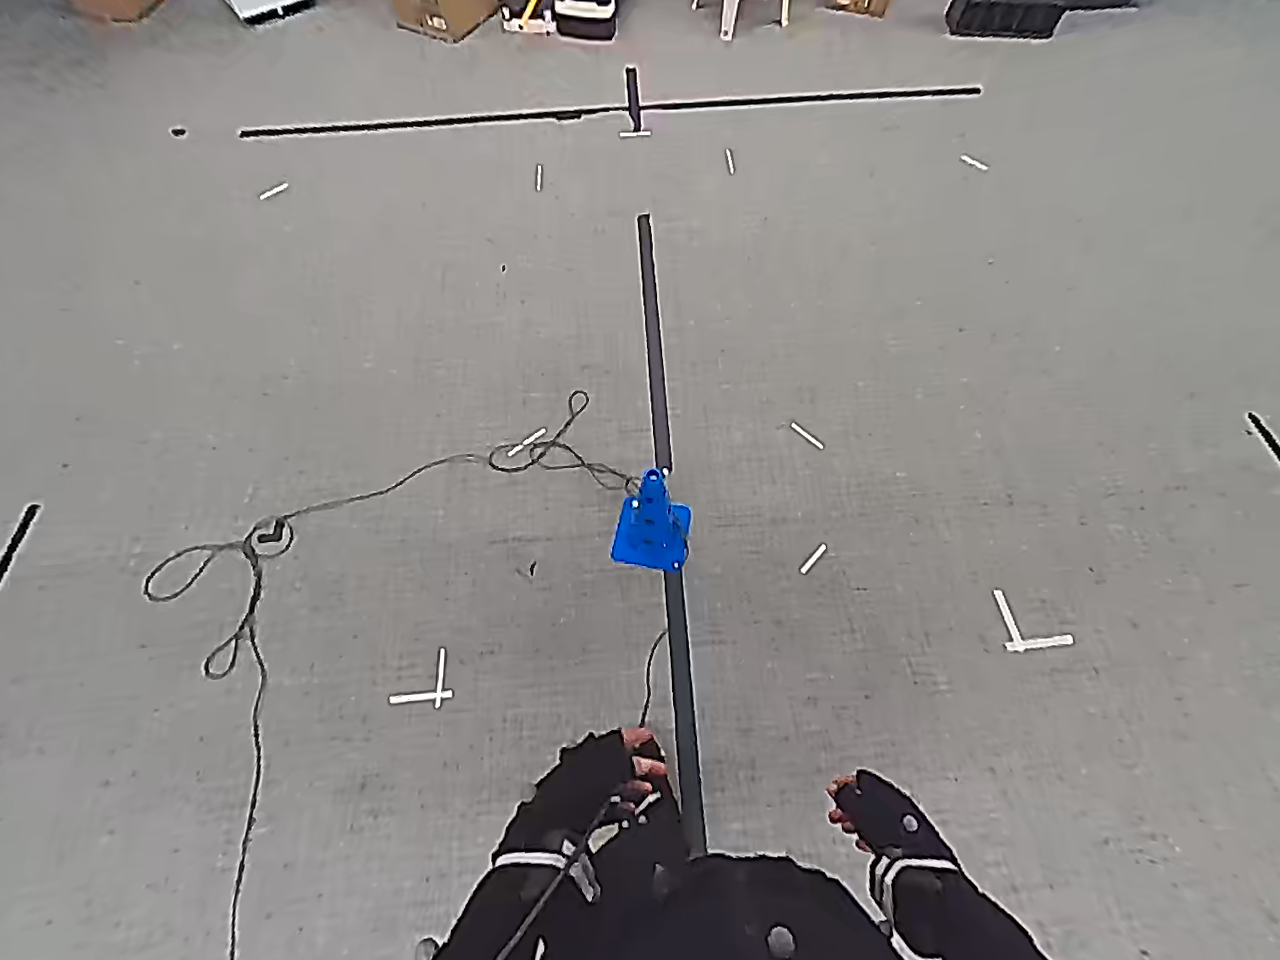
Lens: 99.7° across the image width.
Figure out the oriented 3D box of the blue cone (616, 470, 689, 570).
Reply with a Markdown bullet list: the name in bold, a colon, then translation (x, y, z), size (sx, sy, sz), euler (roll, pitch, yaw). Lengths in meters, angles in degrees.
- **blue cone**: translation (0.037, 0.077, 1.370), size (0.192, 0.380, 0.193), euler (11, 63, 5)
